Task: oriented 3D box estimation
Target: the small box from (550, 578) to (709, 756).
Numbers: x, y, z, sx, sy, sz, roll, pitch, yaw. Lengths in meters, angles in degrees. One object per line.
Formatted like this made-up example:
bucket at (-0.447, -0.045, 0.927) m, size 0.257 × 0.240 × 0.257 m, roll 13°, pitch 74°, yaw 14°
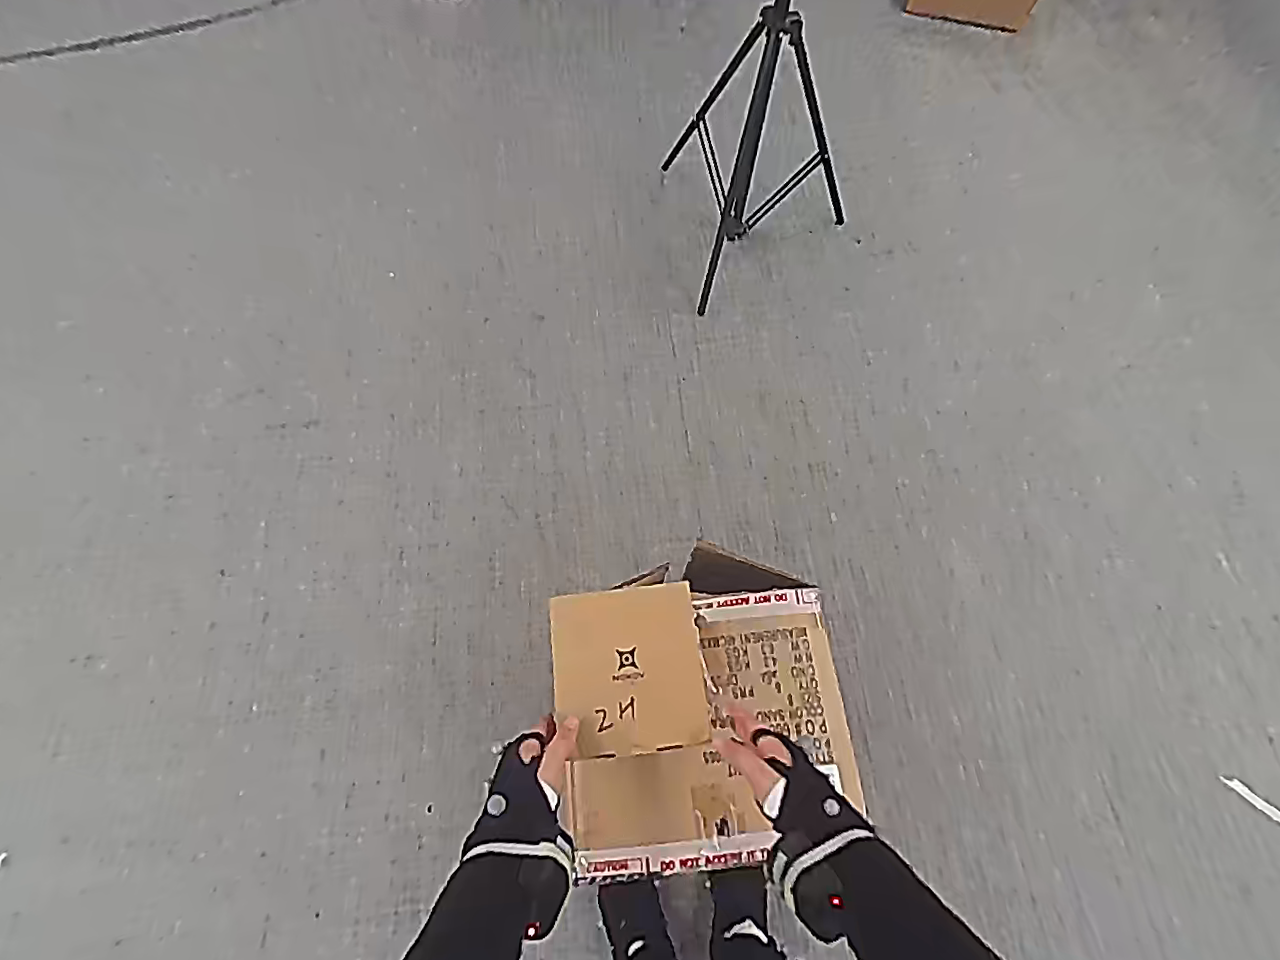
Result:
small box at (-0.016, 0.230, 0.675) m, size 0.168 × 0.176 × 0.179 m, roll -7°, pitch 71°, yaw -1°
